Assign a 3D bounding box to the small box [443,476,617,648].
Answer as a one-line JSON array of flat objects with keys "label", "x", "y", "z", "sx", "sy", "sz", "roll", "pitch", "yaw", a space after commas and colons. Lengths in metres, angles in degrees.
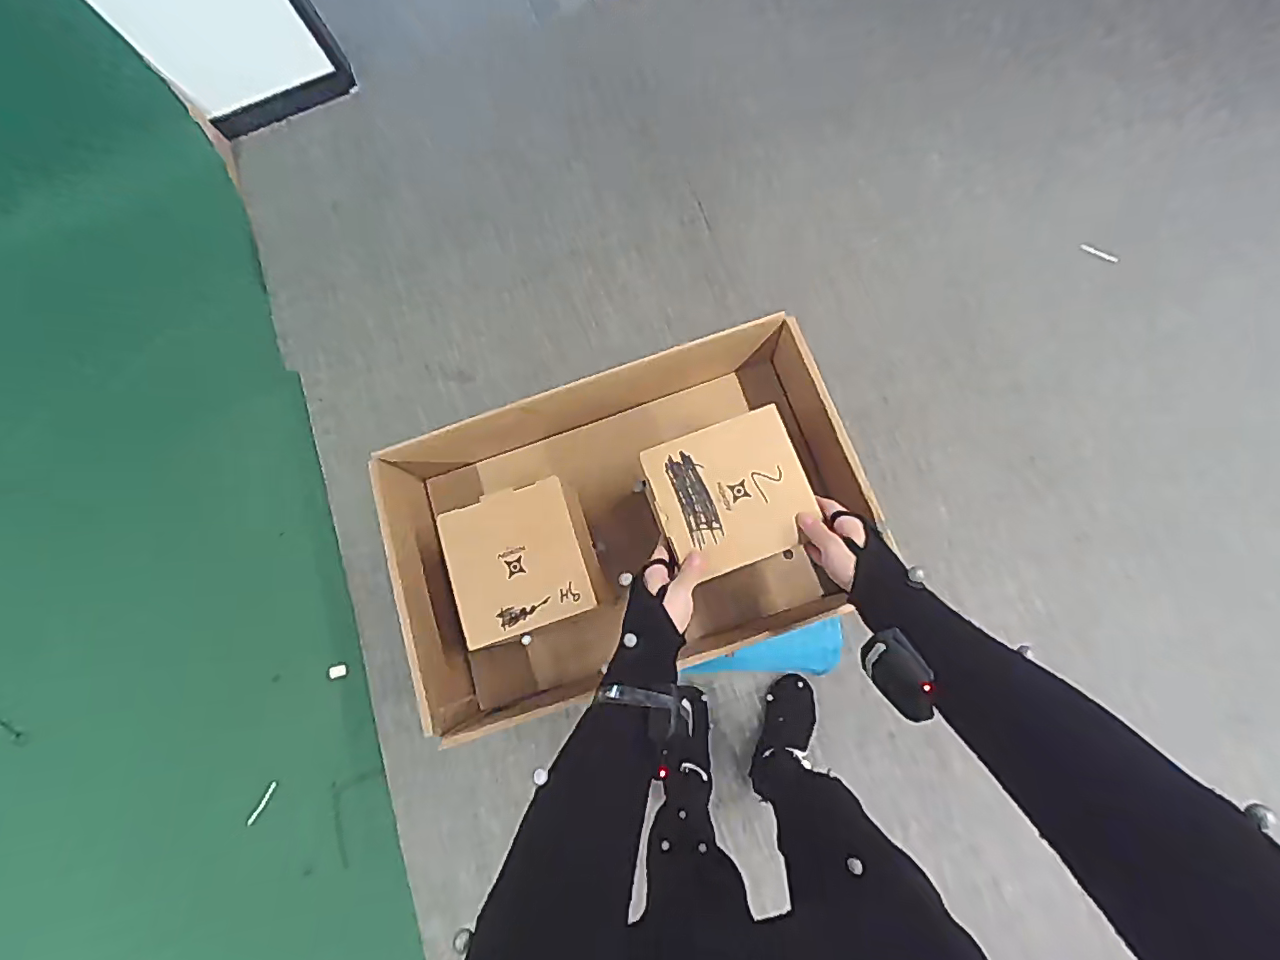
[{"label": "small box", "x": -0.142, "y": 0.118, "z": 0.742, "sx": 0.168, "sy": 0.176, "sz": 0.179, "roll": -19, "pitch": 75, "yaw": 2}]
